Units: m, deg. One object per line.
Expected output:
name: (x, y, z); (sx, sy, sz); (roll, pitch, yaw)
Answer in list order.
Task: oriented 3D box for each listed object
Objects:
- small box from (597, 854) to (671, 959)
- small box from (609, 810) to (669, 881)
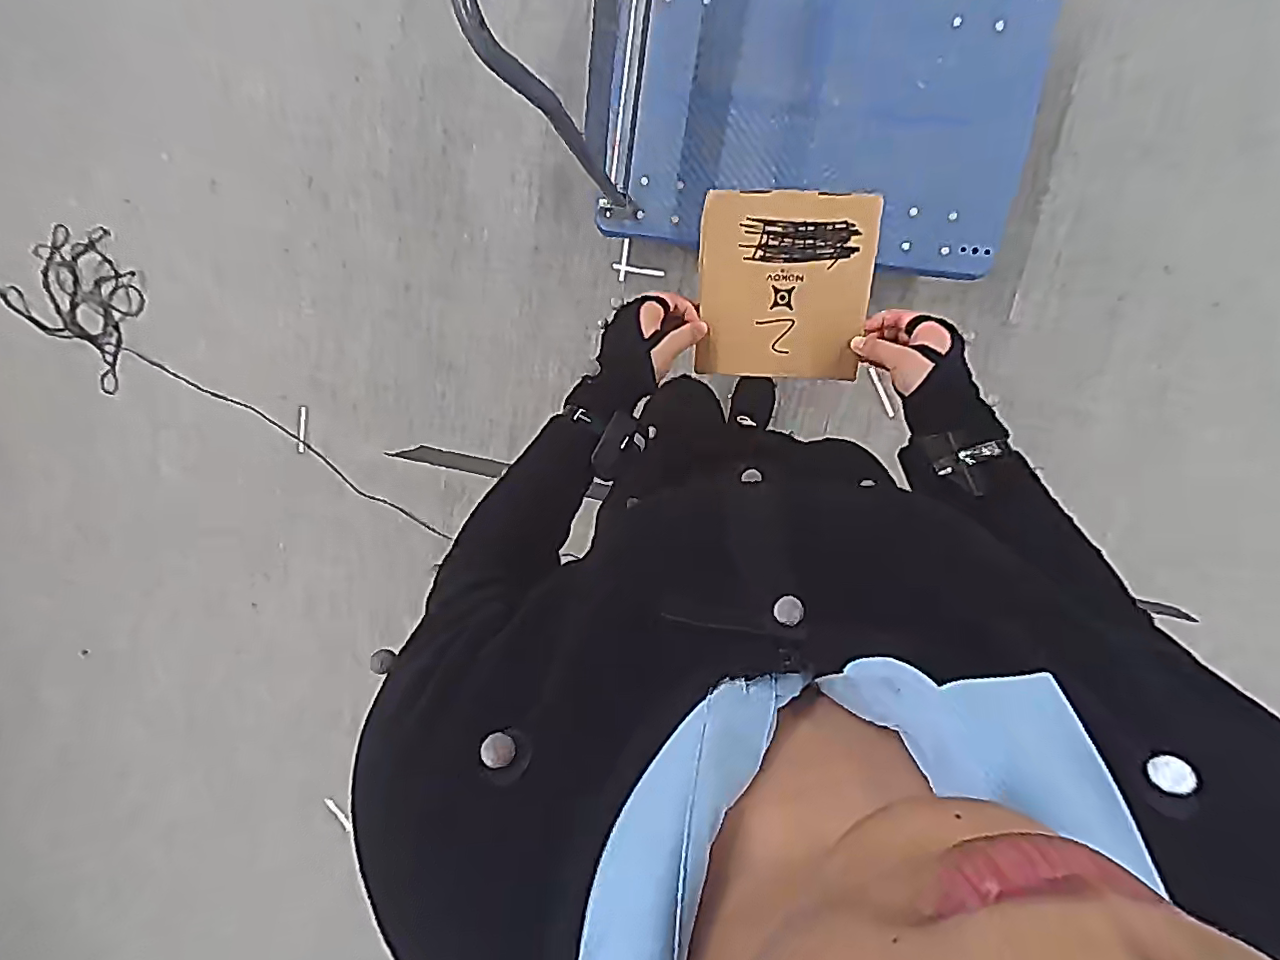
small box: (-0.010, 1.181, 1.478); (0.168, 0.176, 0.179); (12, 102, 4)
small box: (0.002, 1.143, 1.637); (0.168, 0.176, 0.179); (-1, 101, 6)
